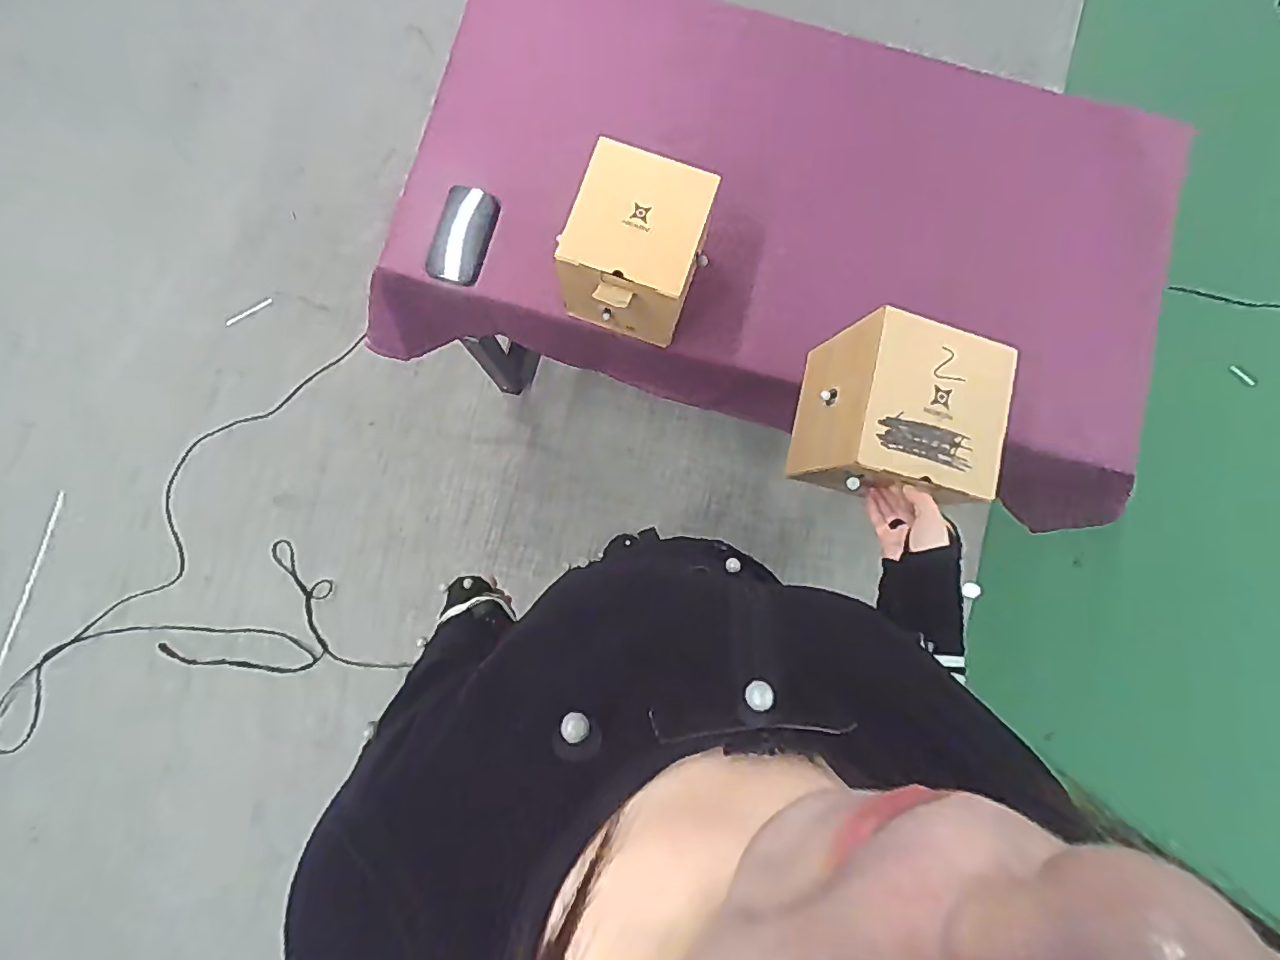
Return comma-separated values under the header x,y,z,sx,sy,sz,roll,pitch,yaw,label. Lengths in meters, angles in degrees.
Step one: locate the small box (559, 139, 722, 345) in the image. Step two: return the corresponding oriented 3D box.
x,y,z,sx,sy,sz,roll,pitch,yaw,label
-0.004,-0.318,0.757,0.168,0.176,0.179,19,83,-1,small box
